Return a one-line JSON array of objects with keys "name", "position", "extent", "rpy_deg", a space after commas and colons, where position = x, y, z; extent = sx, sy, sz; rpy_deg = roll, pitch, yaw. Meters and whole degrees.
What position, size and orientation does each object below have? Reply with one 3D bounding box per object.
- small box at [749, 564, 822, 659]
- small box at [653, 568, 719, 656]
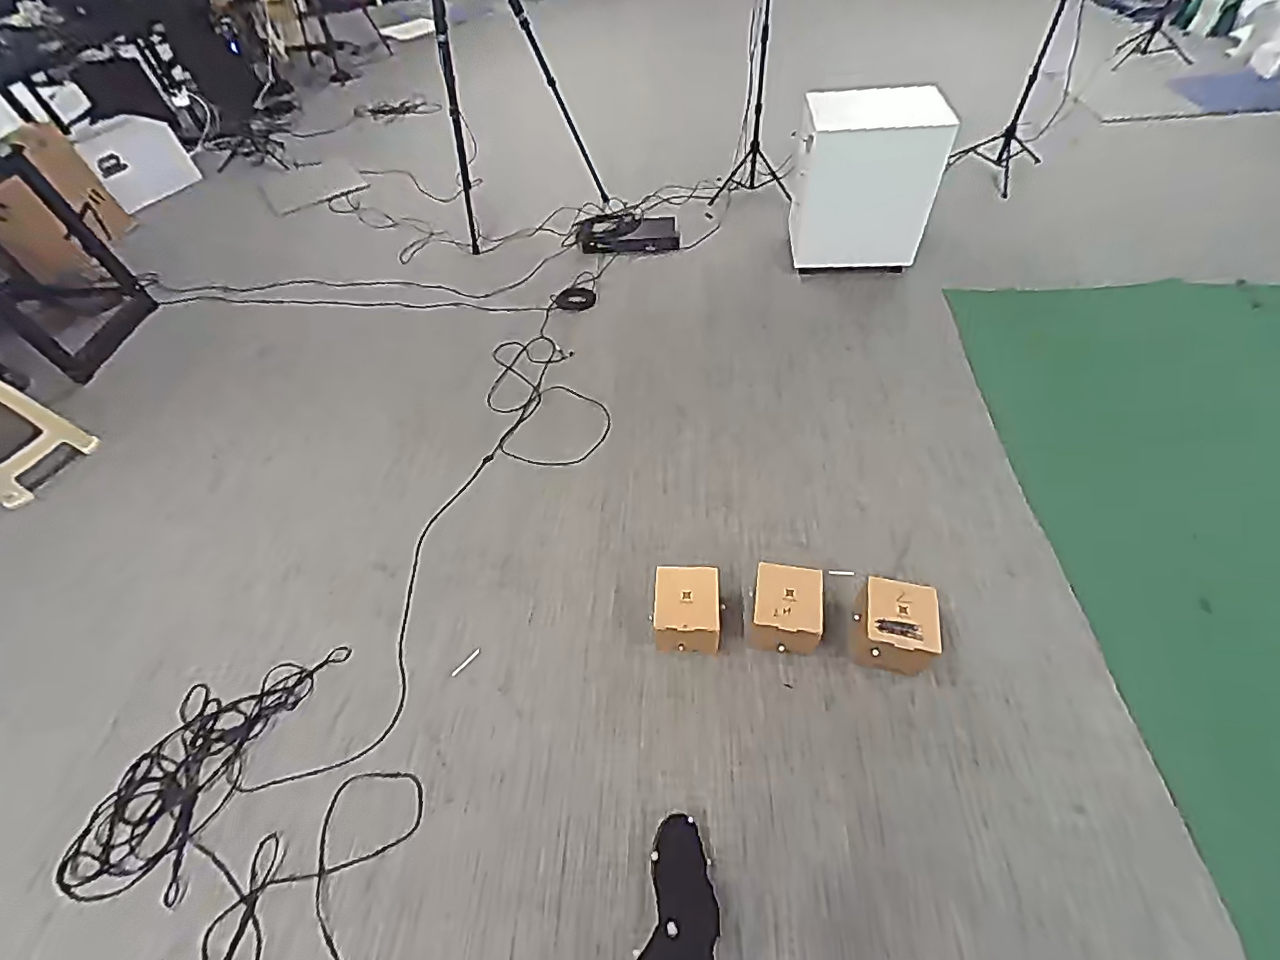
[{"name": "small box", "position": [0.381, 0.348, 1.428], "extent": [0.168, 0.176, 0.179], "rpy_deg": [6, 54, 11]}, {"name": "small box", "position": [0.125, 0.355, 1.449], "extent": [0.168, 0.176, 0.179], "rpy_deg": [0, 53, 6]}]
